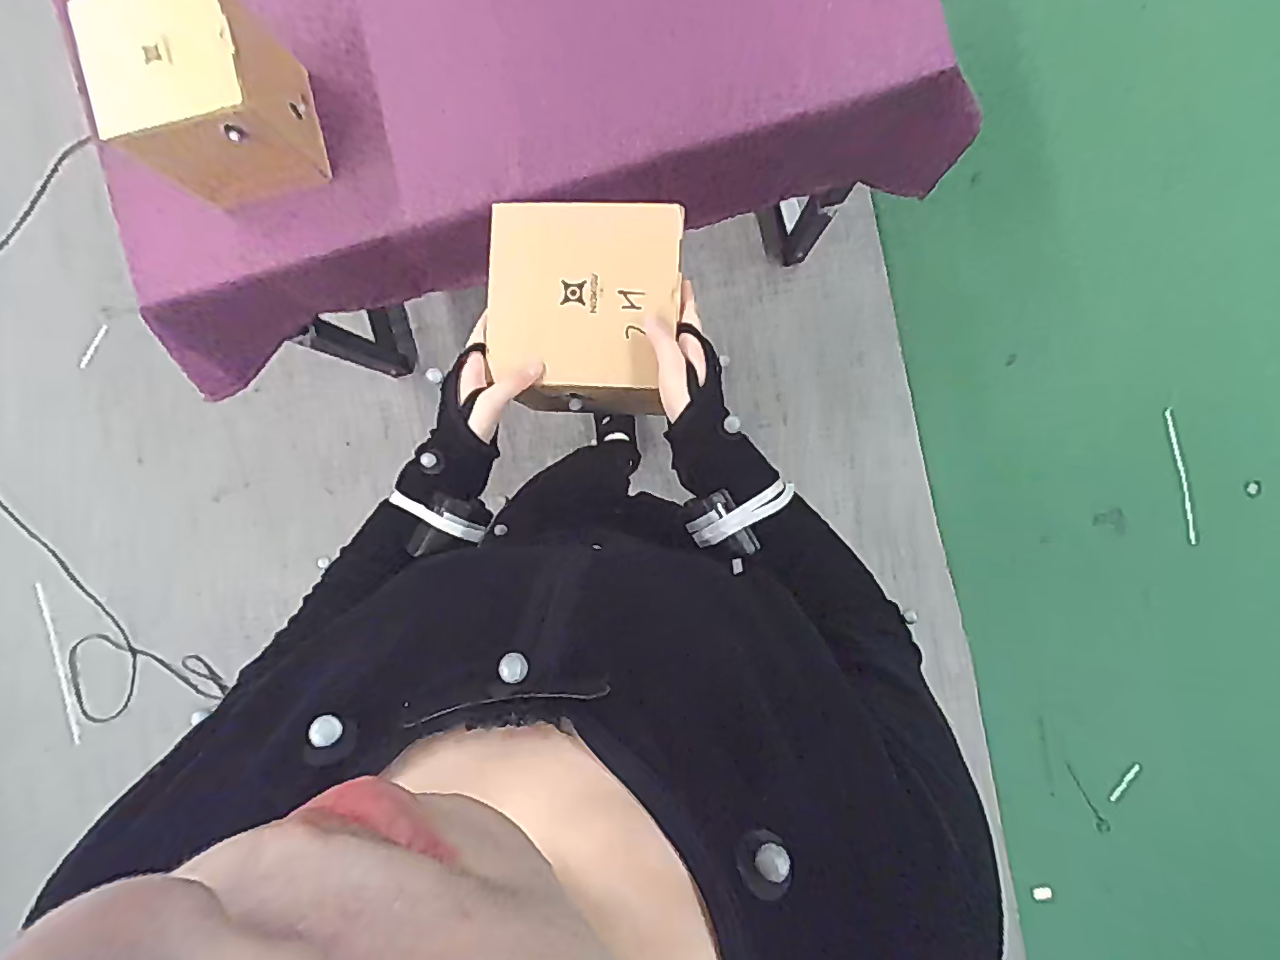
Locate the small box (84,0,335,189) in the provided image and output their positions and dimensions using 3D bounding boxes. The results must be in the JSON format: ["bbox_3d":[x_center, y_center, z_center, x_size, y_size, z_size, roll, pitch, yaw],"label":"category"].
[{"bbox_3d":[-0.539,-0.510,0.699,0.179,0.176,0.168,-13,91,2],"label":"small box"}]

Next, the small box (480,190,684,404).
[{"bbox_3d":[-0.047,-0.174,0.562,0.179,0.176,0.168,4,90,4],"label":"small box"}]
